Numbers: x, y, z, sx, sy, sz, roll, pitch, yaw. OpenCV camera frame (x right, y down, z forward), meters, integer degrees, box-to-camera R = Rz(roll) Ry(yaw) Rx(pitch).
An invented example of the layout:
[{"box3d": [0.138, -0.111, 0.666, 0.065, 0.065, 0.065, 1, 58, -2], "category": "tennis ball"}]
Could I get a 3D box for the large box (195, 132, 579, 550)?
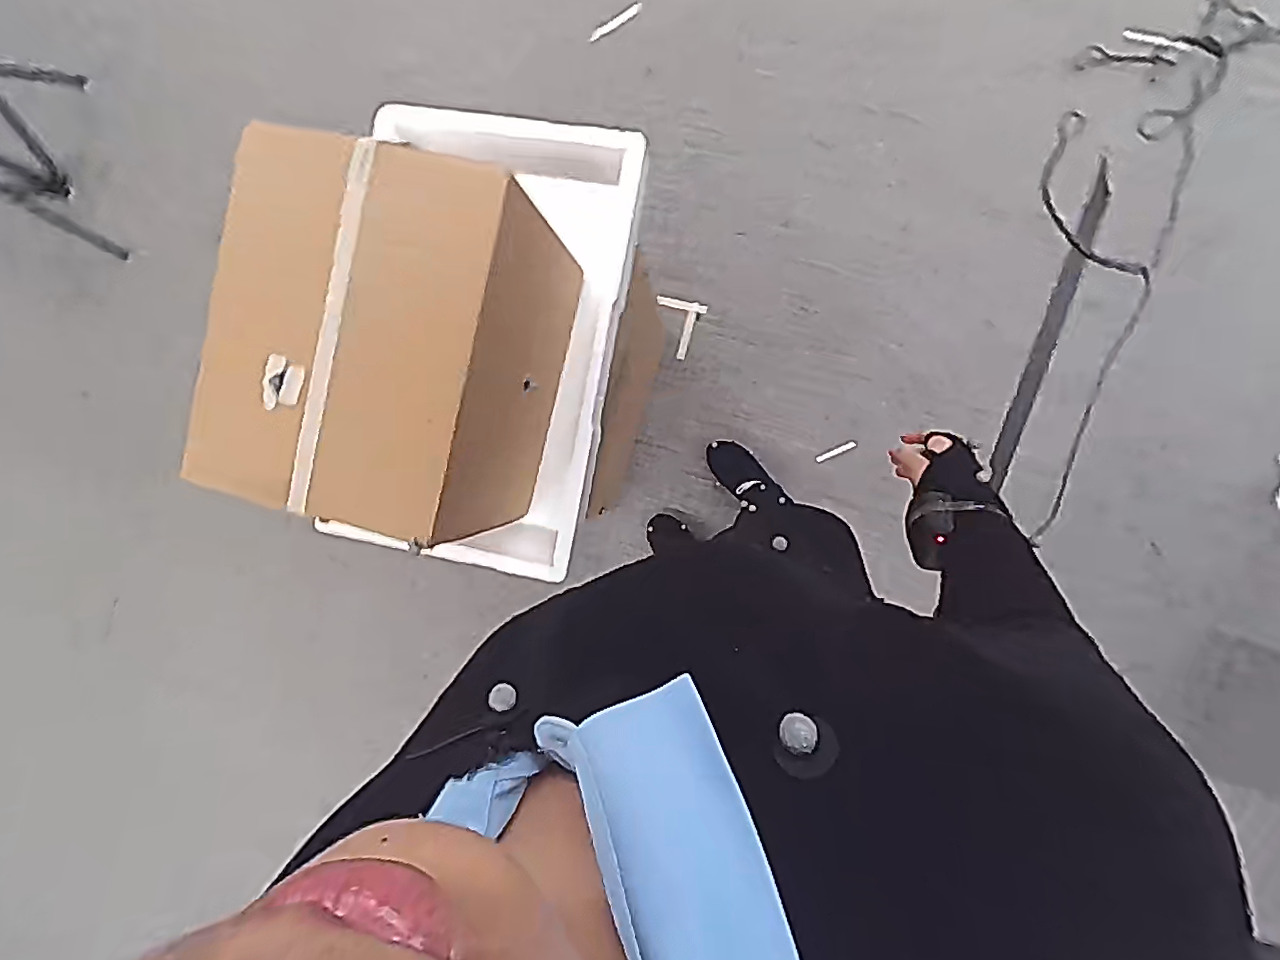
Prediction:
[{"box3d": [-0.297, -0.160, 0.723, 0.320, 0.320, 0.408, 13, 95, 8], "category": "large box"}]
